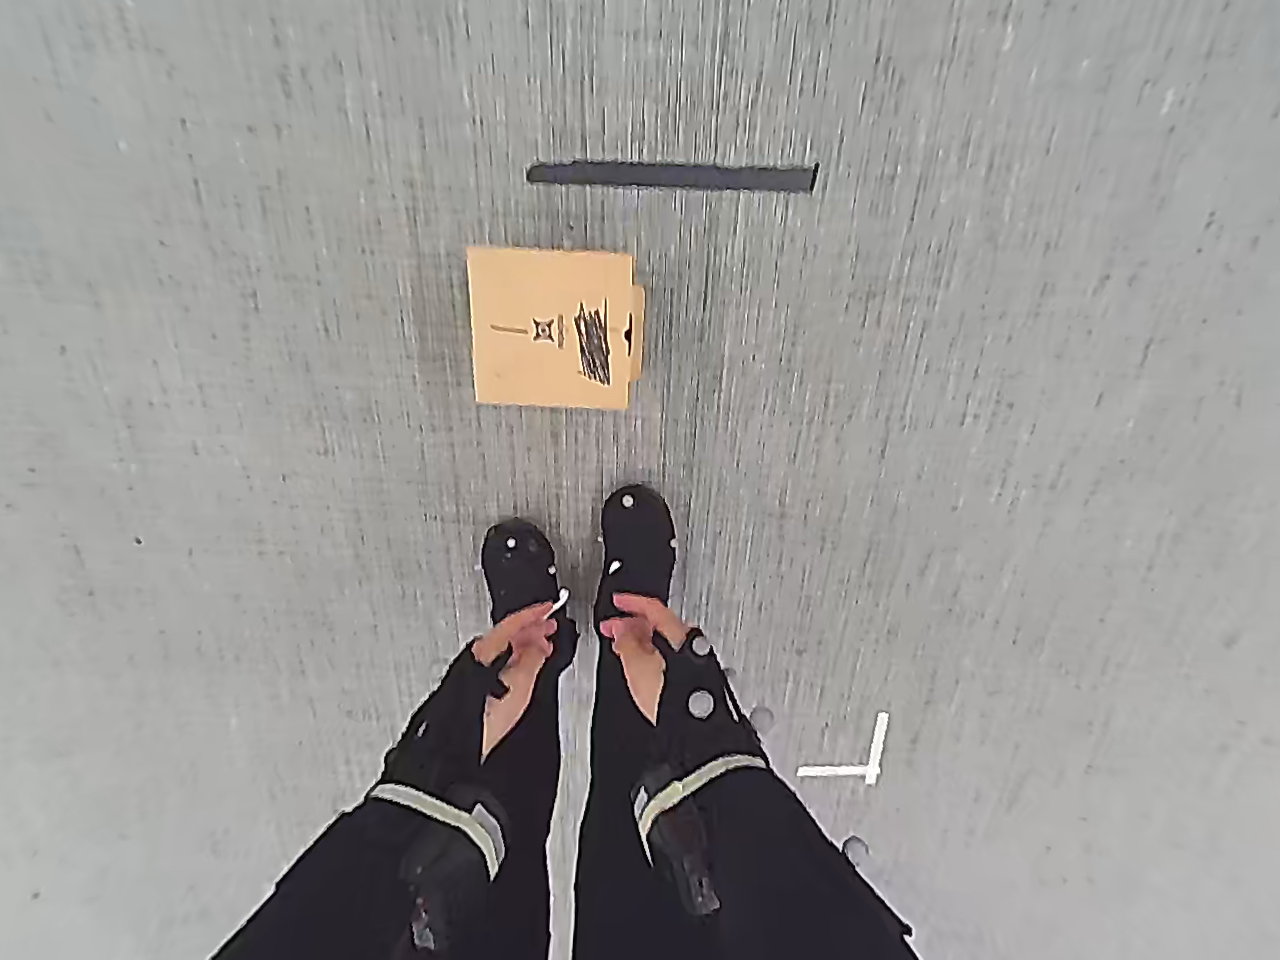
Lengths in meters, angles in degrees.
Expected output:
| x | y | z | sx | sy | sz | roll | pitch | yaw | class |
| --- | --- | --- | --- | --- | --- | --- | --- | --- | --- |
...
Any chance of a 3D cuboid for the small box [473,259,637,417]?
| x | y | z | sx | sy | sz | roll | pitch | yaw | class |
| --- | --- | --- | --- | --- | --- | --- | --- | --- | --- |
| -0.095 | -0.181 | 0.673 | 0.179 | 0.176 | 0.168 | 2 | 110 | -1 | small box |
